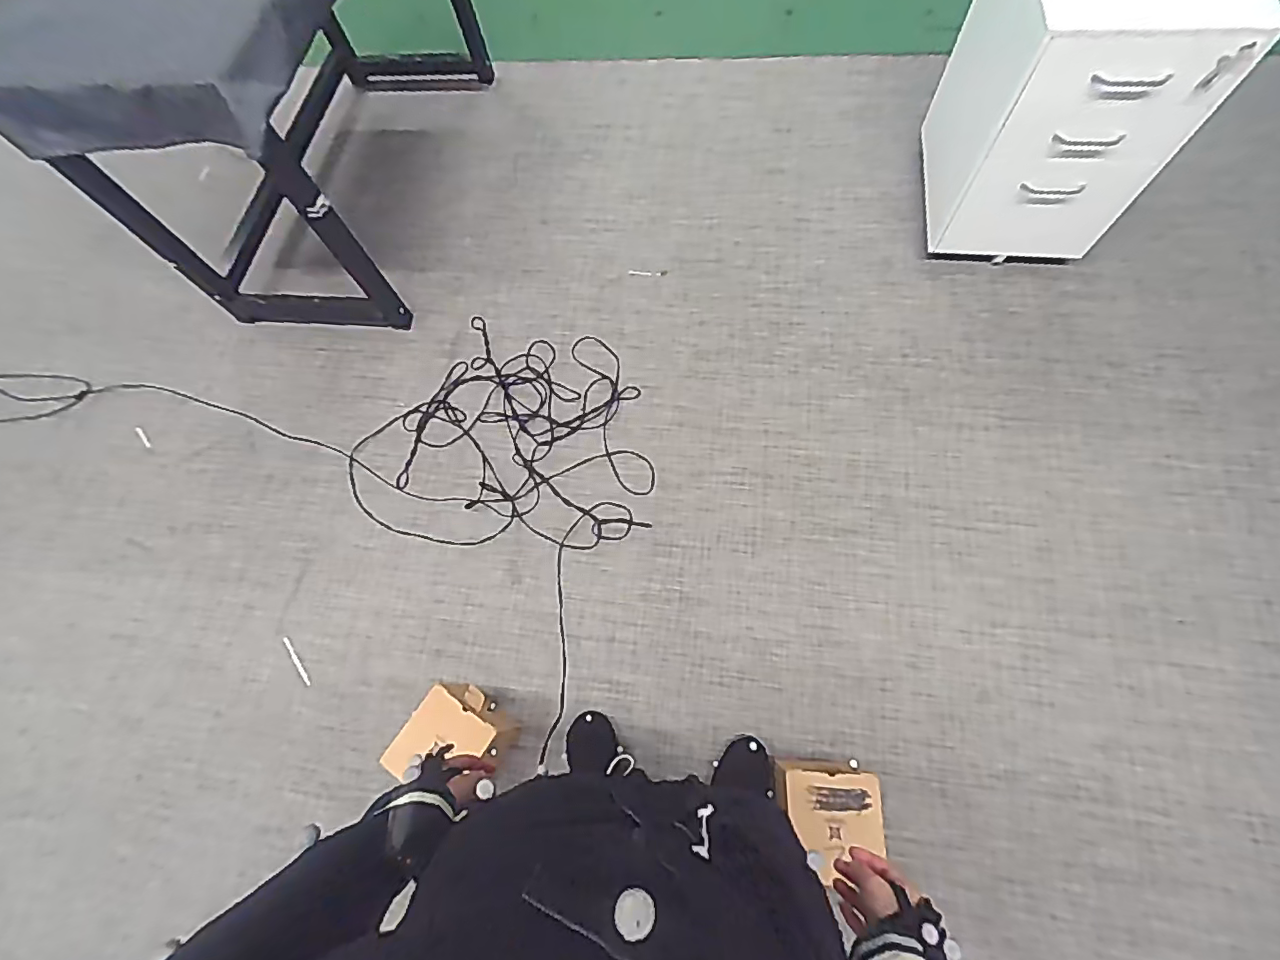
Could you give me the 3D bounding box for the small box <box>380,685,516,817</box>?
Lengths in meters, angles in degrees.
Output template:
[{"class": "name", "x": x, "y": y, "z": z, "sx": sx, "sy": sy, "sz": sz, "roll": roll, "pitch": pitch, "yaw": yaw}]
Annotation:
[{"class": "small box", "x": -0.384, "y": 0.550, "z": 1.118, "sx": 0.168, "sy": 0.176, "sz": 0.179, "roll": 30, "pitch": 73, "yaw": 16}]
